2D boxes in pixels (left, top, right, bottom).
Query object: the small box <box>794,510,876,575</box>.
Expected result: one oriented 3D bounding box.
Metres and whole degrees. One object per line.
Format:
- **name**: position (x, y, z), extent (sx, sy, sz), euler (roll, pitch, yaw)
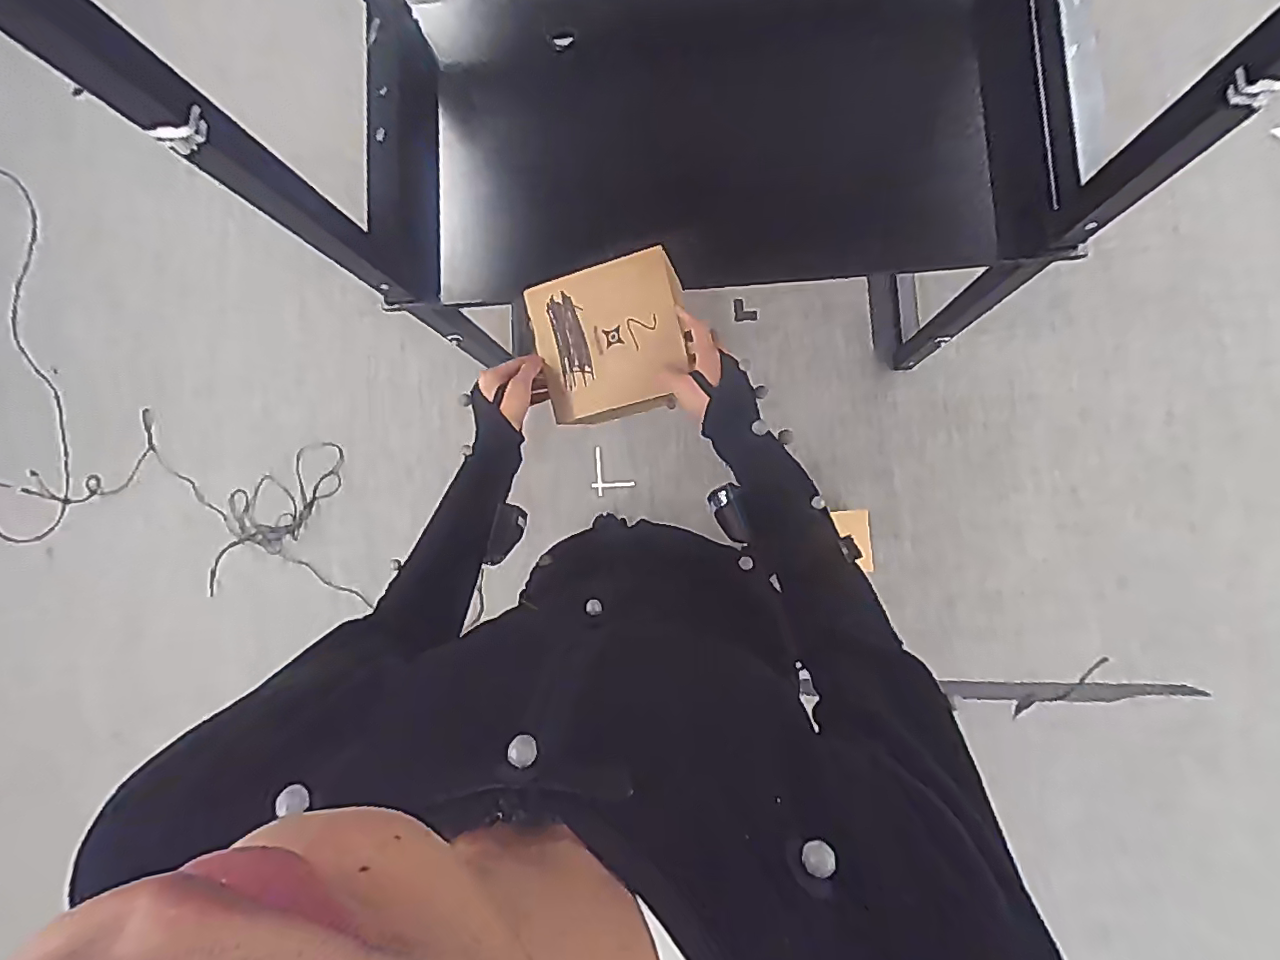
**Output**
- **small box**: position (0.533, 0.170, 1.494), extent (0.179, 0.176, 0.168), euler (-4, 85, 7)
